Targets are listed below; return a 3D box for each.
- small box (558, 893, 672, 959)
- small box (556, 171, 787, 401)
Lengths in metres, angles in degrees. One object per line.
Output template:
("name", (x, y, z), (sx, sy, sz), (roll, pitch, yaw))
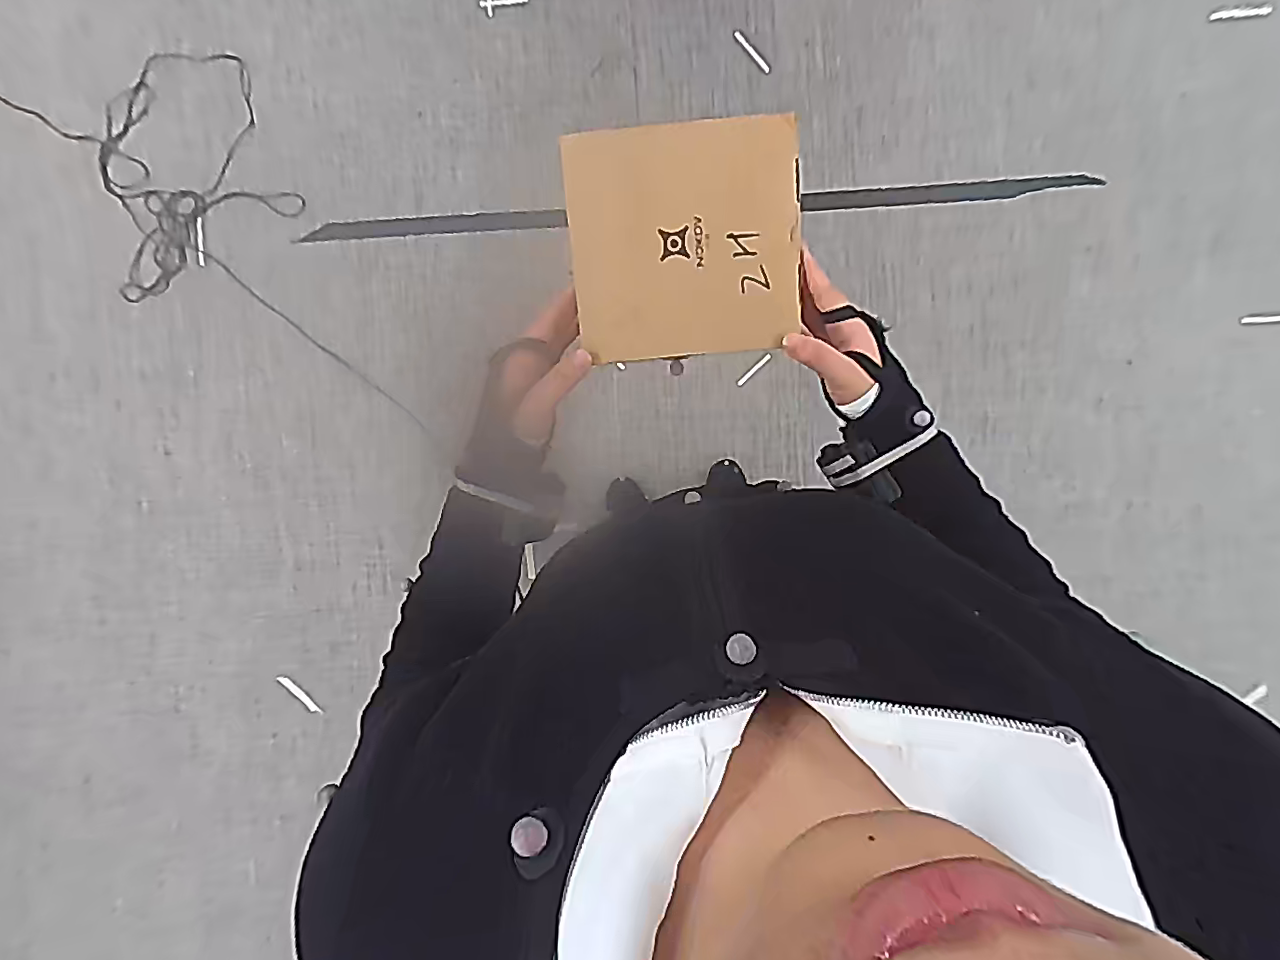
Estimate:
("small box", (-0.040, 0.777, 0.811), (0.168, 0.176, 0.179), (4, 90, 4))
("small box", (0.029, -0.165, 0.503), (0.179, 0.176, 0.168), (-4, 103, 1))
